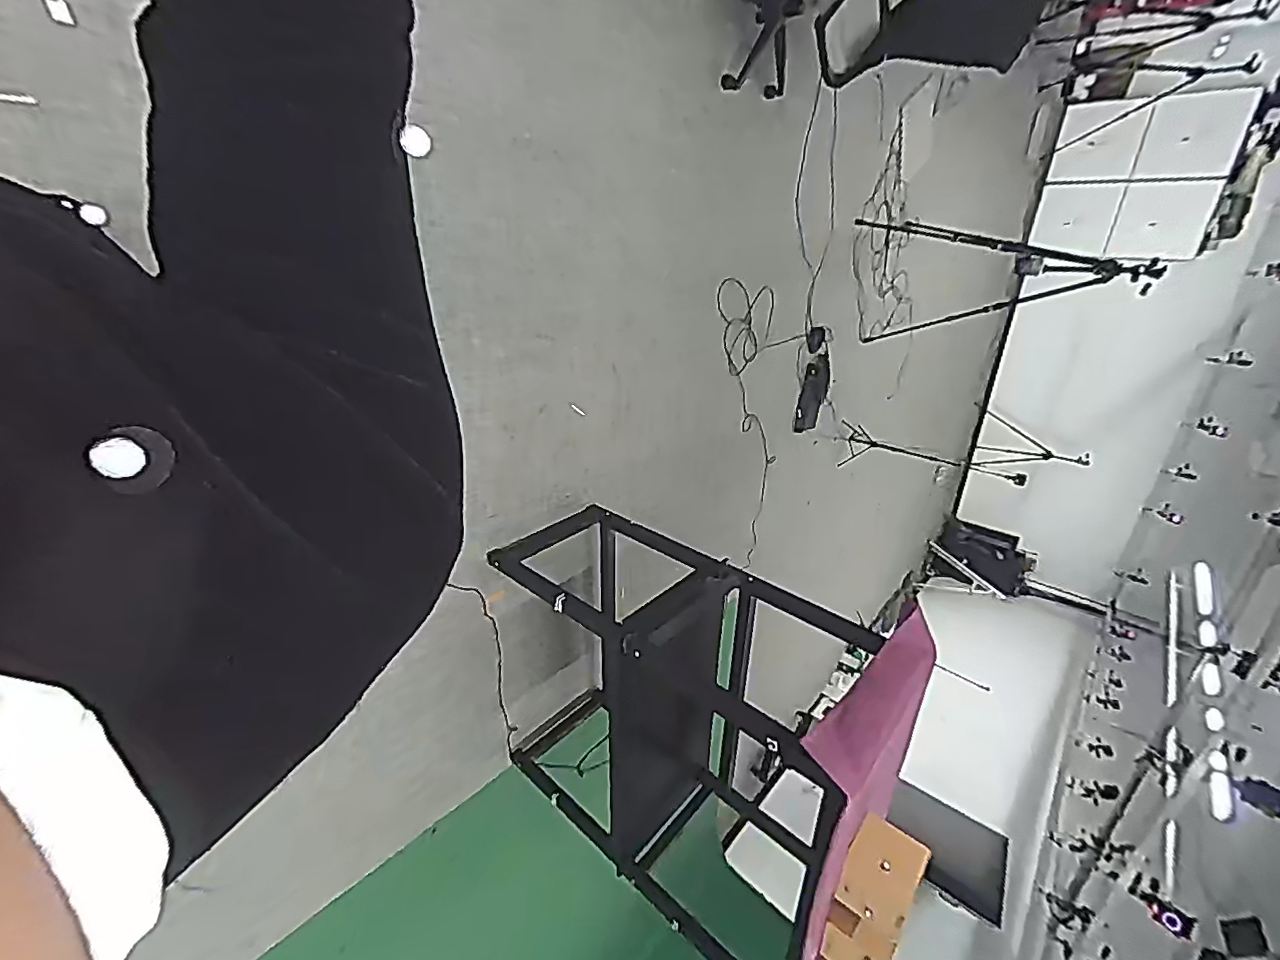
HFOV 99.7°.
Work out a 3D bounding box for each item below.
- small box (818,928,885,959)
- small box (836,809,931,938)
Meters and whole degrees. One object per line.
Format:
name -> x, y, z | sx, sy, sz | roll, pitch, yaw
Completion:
small box -> 0.631, 1.532, 1.651 | 0.168, 0.176, 0.179 | -24, 124, -44
small box -> 0.638, 1.027, 1.426 | 0.179, 0.176, 0.168 | -23, 124, -45
